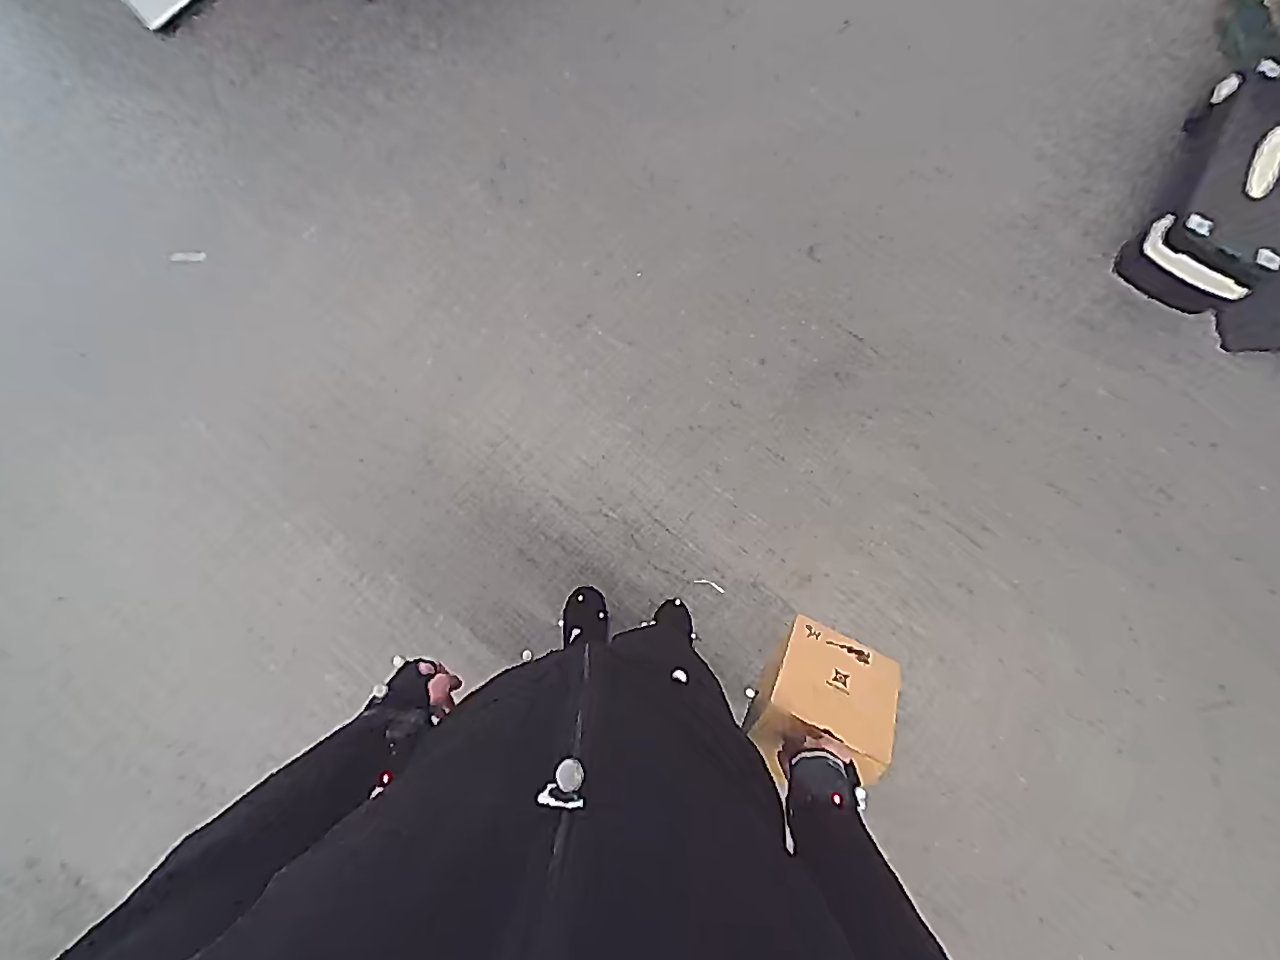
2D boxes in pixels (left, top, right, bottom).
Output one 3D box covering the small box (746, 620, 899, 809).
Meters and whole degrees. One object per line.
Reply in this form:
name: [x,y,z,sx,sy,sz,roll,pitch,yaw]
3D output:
small box: [0.272,0.356,0.821,0.168,0.176,0.179,21,40,13]
